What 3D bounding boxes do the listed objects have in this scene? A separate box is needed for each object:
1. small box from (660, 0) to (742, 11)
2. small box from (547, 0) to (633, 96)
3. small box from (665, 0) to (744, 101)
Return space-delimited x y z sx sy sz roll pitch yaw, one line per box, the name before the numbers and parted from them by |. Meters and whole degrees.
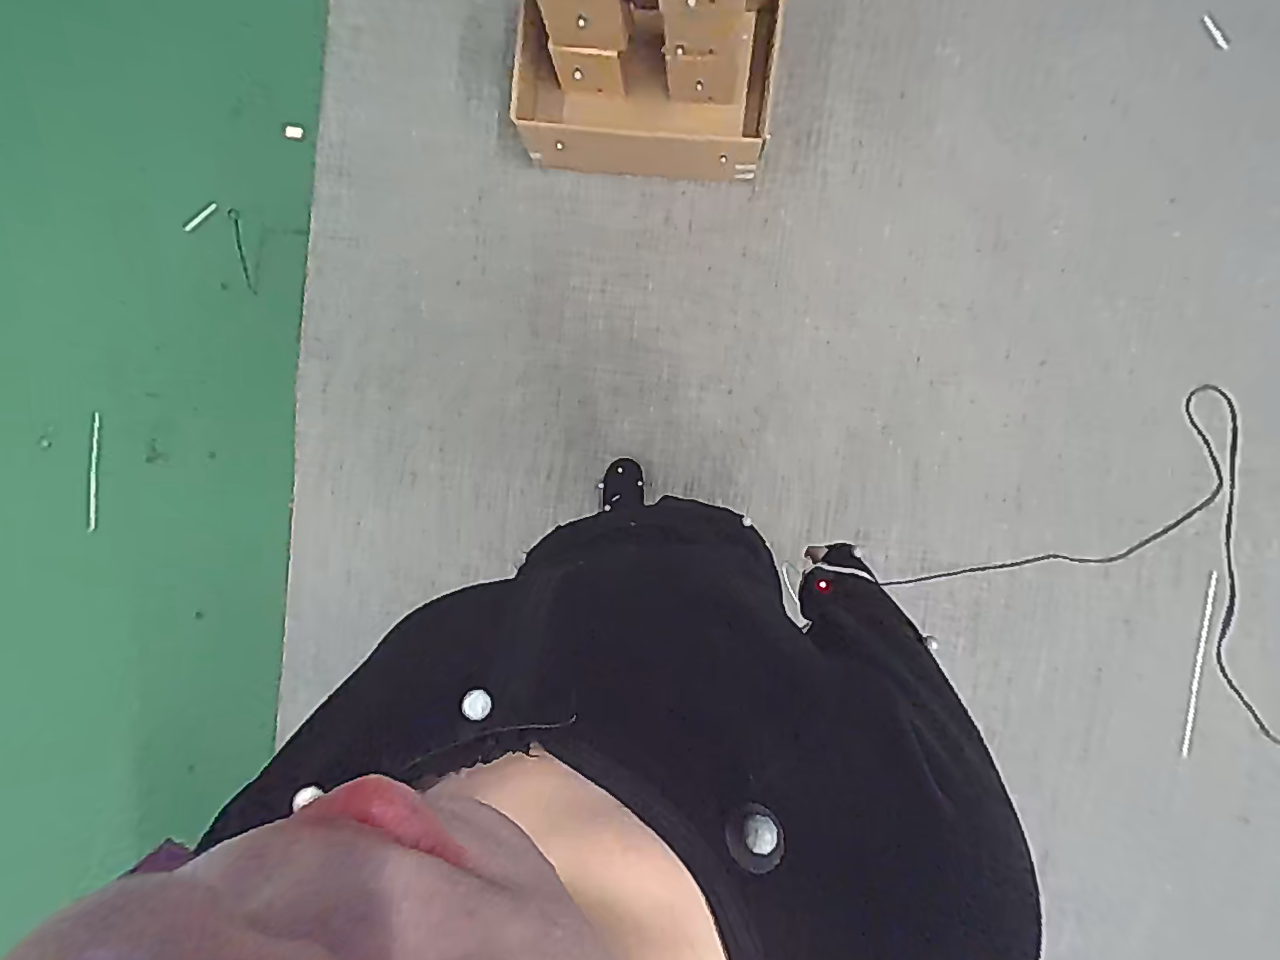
small box | 0.112 -0.998 0.970 0.168 0.176 0.179 3 96 6
small box | -0.114 -1.080 1.315 0.168 0.176 0.179 11 95 3
small box | 0.156 -1.045 1.292 0.168 0.176 0.179 7 95 5
